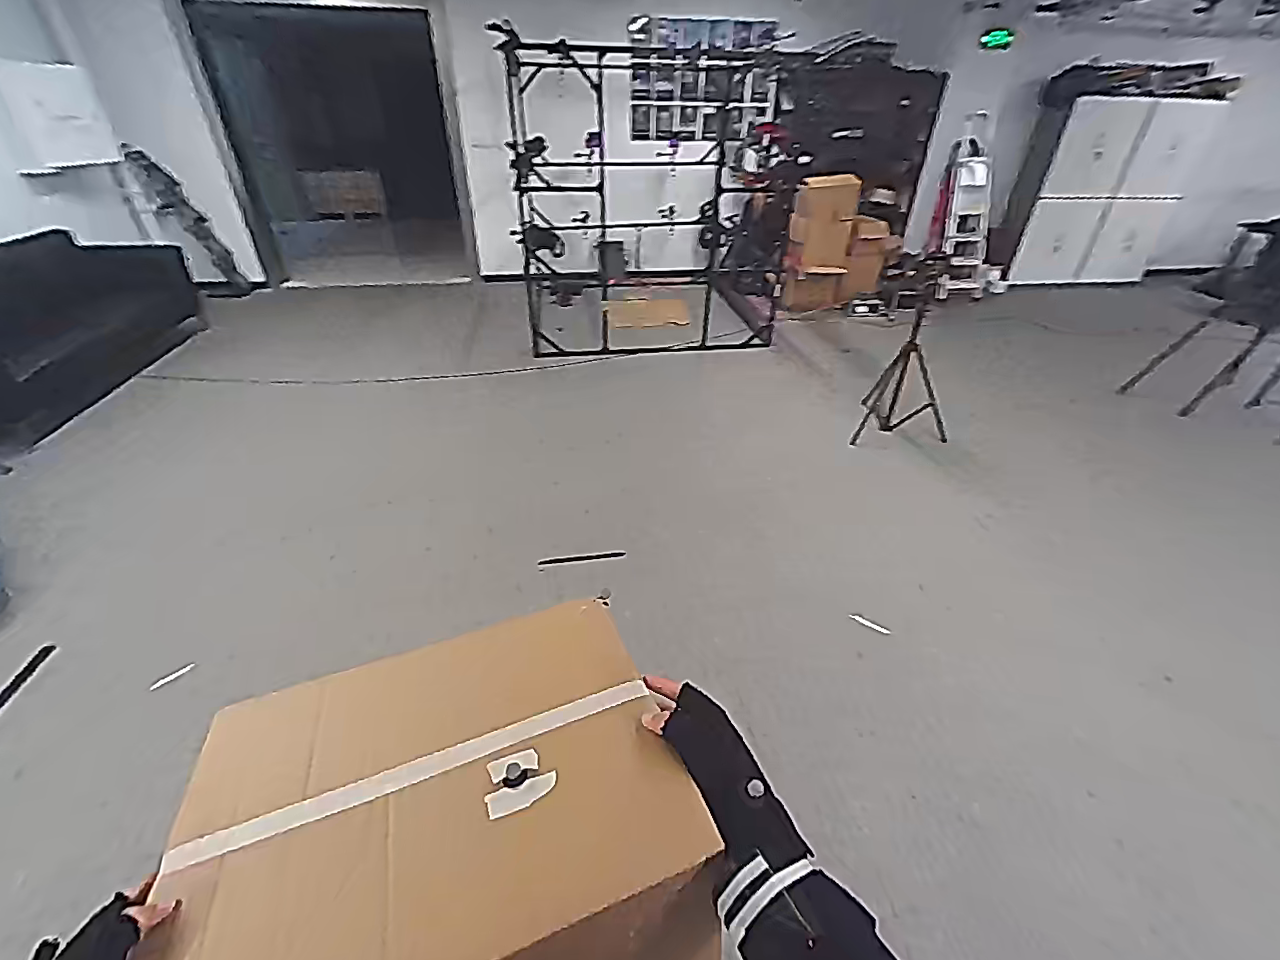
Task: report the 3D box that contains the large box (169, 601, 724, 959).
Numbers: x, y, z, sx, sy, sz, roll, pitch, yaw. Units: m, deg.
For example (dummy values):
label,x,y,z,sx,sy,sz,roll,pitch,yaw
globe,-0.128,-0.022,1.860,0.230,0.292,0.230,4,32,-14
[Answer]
label,x,y,z,sx,sy,sz,roll,pitch,yaw
large box,-0.161,0.389,0.565,0.408,0.320,0.320,-13,31,-16
